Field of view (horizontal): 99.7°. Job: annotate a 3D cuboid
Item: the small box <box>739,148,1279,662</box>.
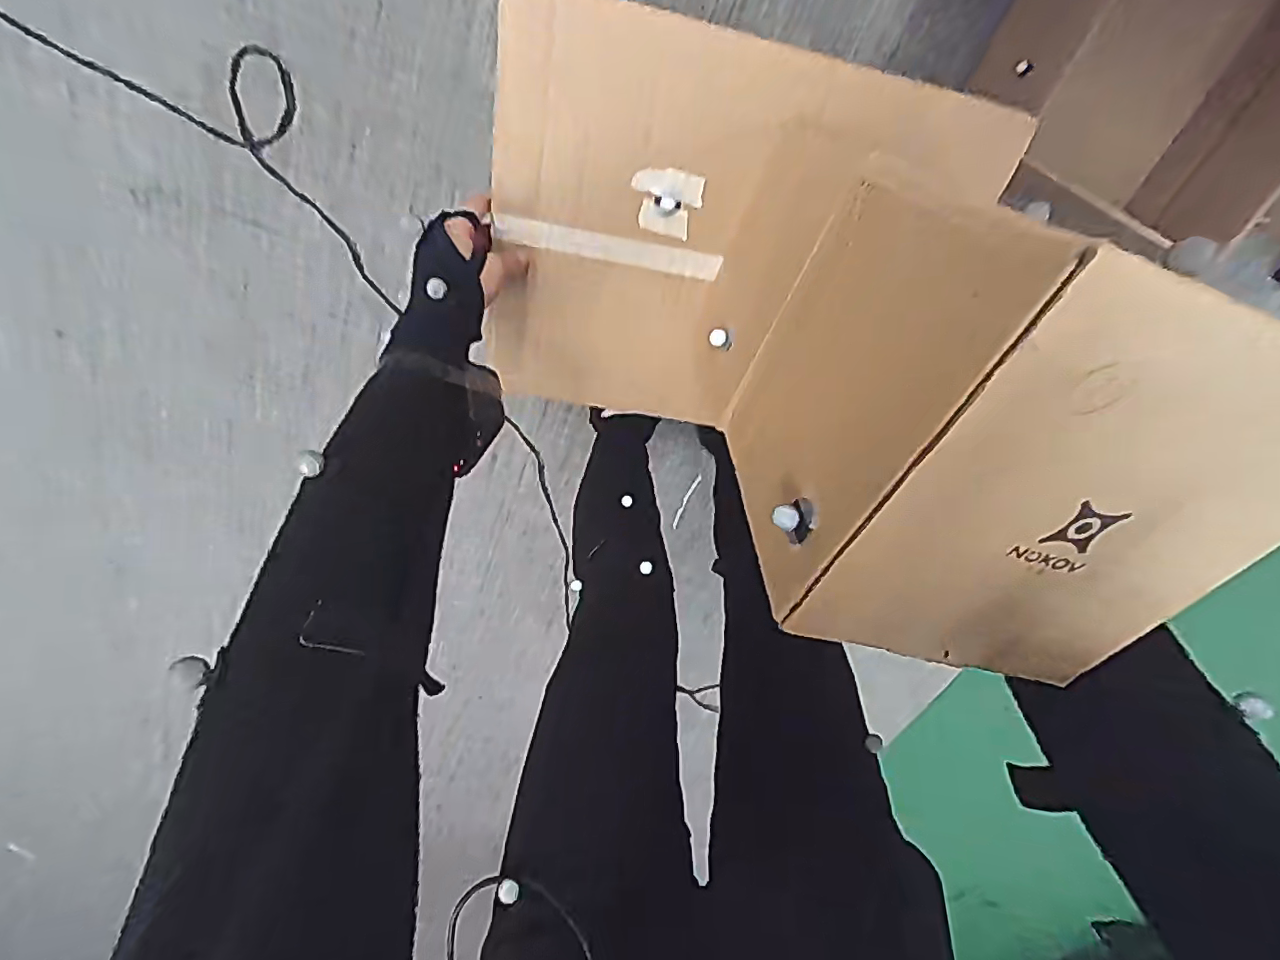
[{"bbox_3d":[0.164,-0.039,0.273,0.168,0.176,0.179,14,128,-12],"label":"small box"}]
